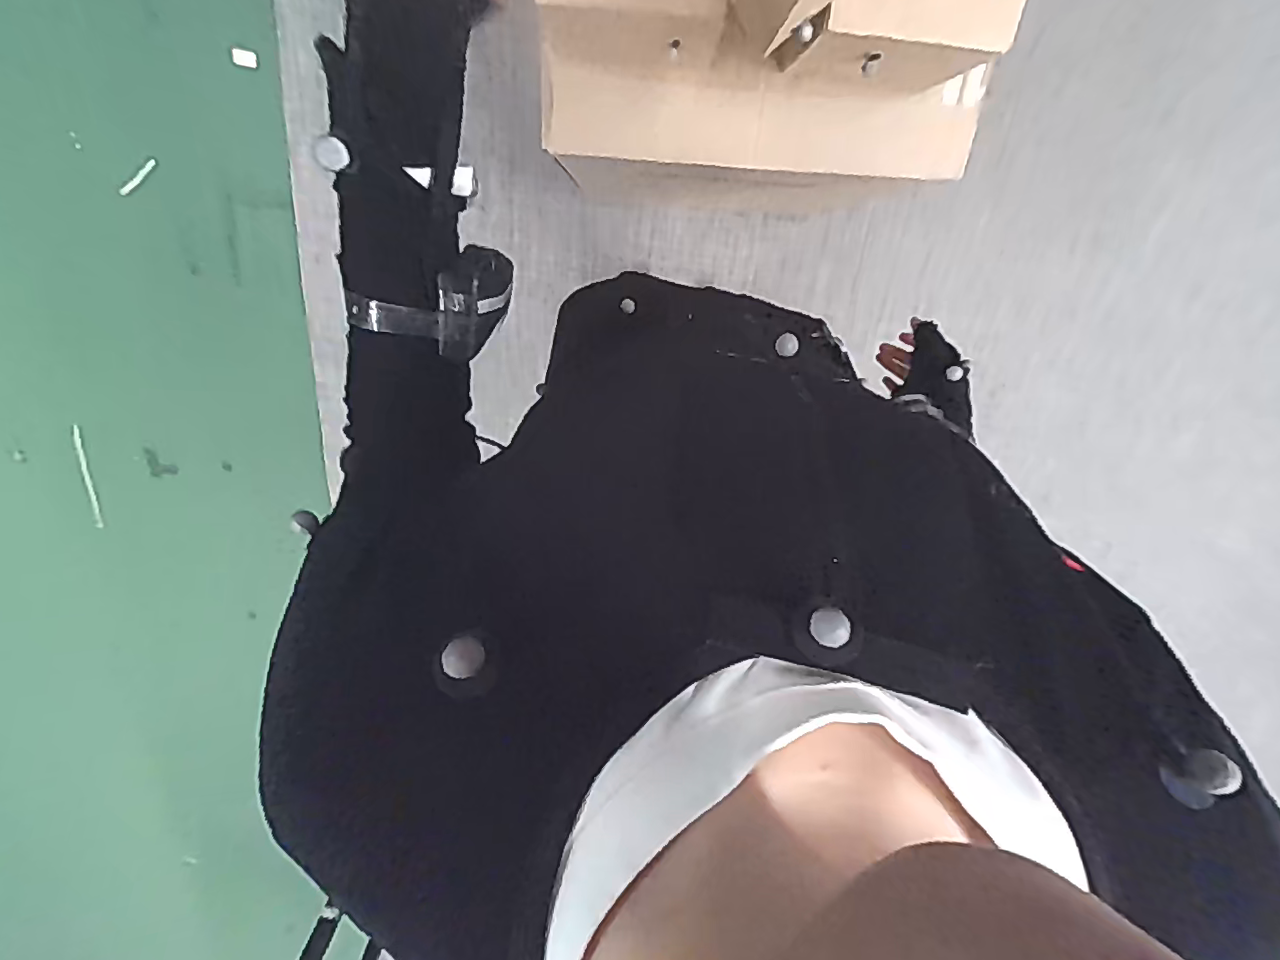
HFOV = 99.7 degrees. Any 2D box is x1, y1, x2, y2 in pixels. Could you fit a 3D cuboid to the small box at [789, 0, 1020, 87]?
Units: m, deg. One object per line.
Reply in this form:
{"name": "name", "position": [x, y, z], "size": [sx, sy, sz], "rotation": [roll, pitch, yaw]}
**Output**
{"name": "small box", "position": [0.262, -0.513, 0.537], "size": [0.179, 0.176, 0.168], "rotation": [5, 116, -1]}

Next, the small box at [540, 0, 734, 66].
{"name": "small box", "position": [0.001, -0.530, 0.529], "size": [0.179, 0.176, 0.168], "rotation": [3, 114, 0]}

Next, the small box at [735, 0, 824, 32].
{"name": "small box", "position": [0.127, -0.465, 0.378], "size": [0.168, 0.176, 0.179], "rotation": [-34, 109, 14]}
